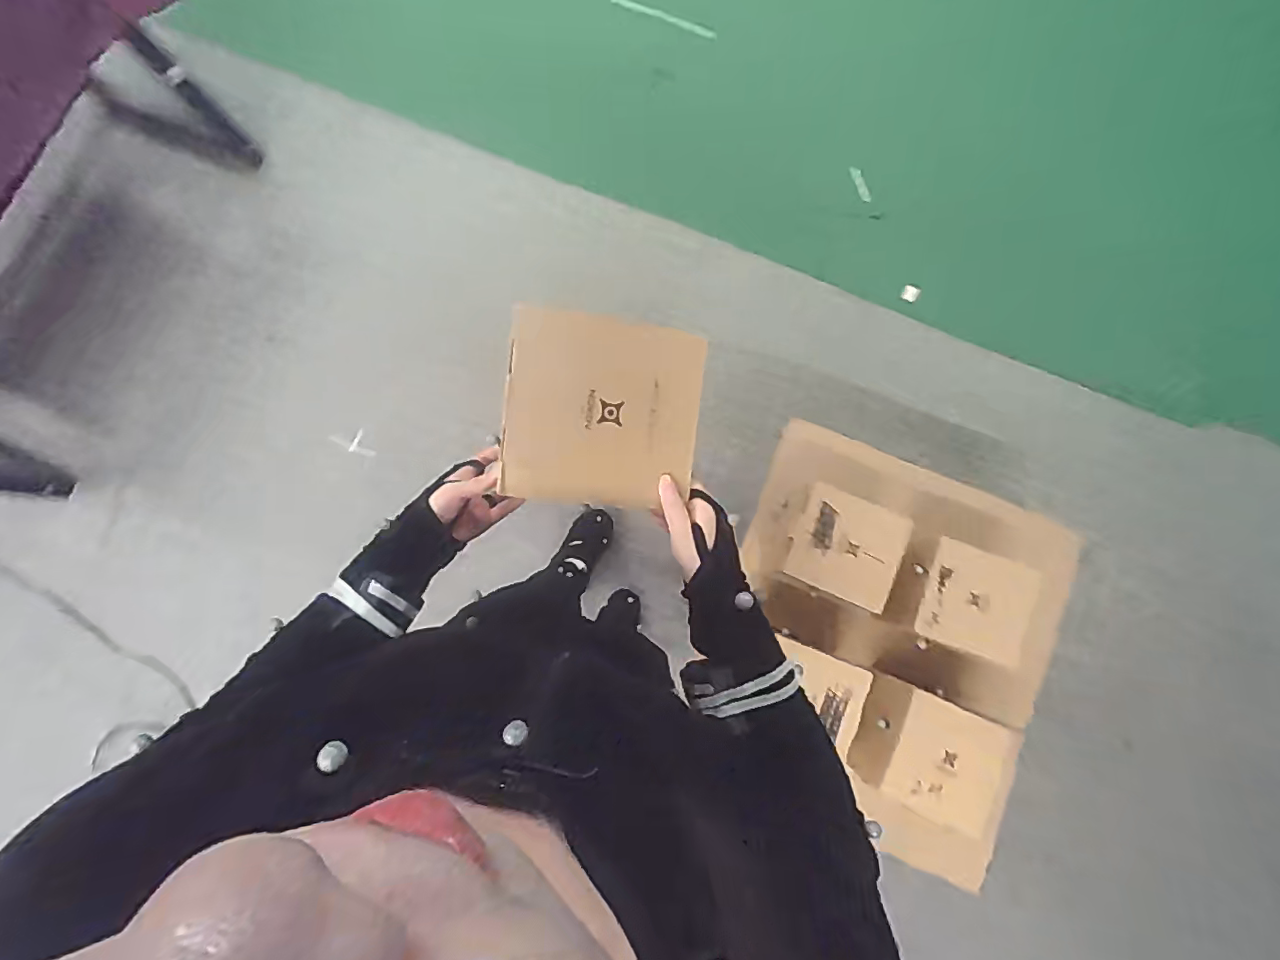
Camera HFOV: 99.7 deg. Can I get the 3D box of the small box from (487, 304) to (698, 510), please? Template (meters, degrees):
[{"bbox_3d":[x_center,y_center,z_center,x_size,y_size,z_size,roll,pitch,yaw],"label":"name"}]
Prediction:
[{"bbox_3d":[-0.058,-0.066,0.555,0.179,0.176,0.168,5,94,-15],"label":"small box"}]

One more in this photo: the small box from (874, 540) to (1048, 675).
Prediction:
[{"bbox_3d":[0.544,0.212,0.938,0.179,0.176,0.168,22,81,2],"label":"small box"}]
